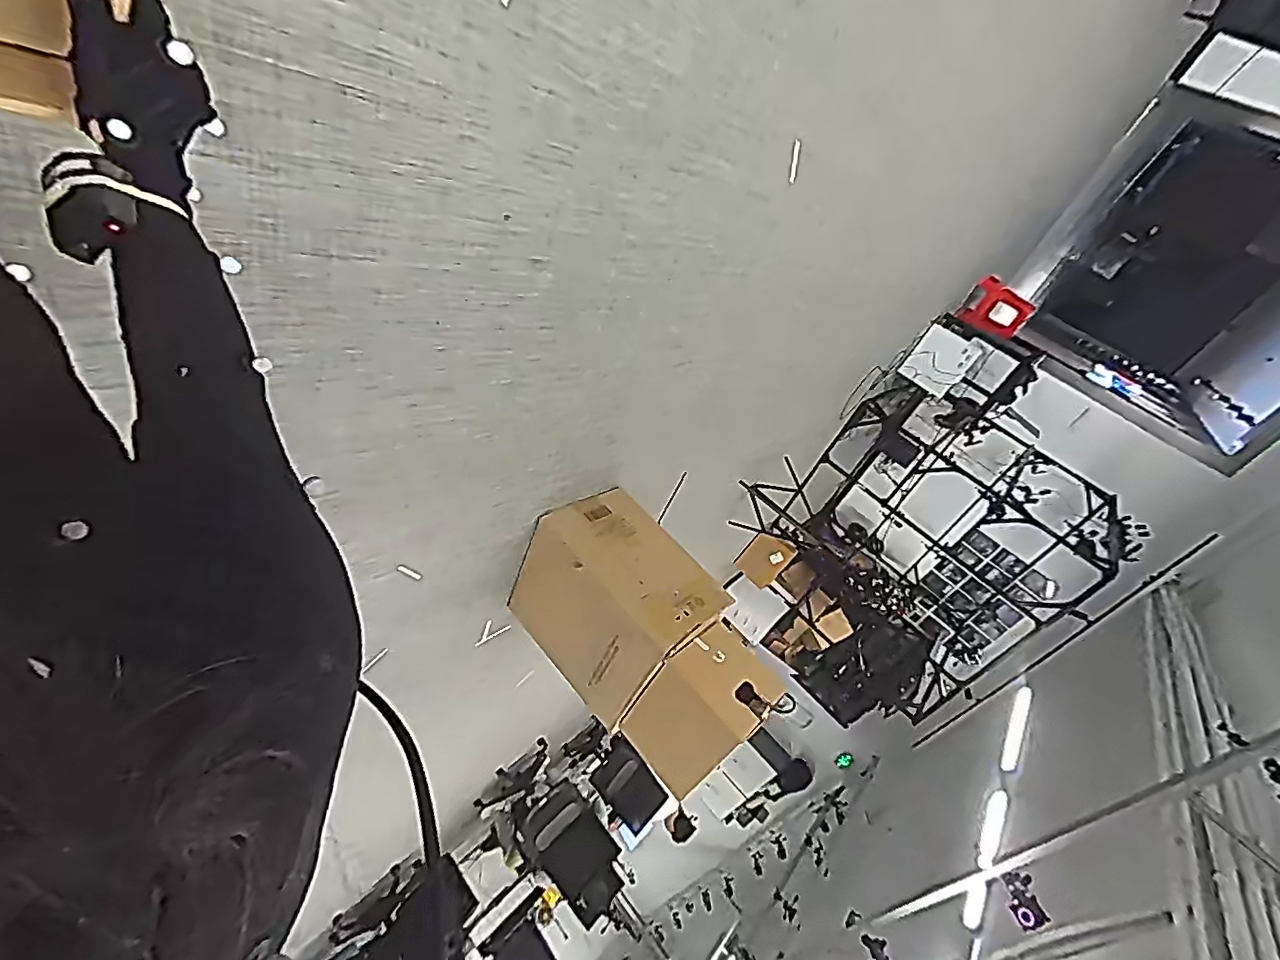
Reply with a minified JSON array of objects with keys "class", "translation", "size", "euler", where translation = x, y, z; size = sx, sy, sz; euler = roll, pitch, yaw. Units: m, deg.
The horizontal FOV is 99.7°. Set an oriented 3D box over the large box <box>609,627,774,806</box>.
[{"class":"large box","translation":[0.160,0.766,1.781],"size":[0.320,0.320,0.408],"euler":[-17,144,-49]}]
